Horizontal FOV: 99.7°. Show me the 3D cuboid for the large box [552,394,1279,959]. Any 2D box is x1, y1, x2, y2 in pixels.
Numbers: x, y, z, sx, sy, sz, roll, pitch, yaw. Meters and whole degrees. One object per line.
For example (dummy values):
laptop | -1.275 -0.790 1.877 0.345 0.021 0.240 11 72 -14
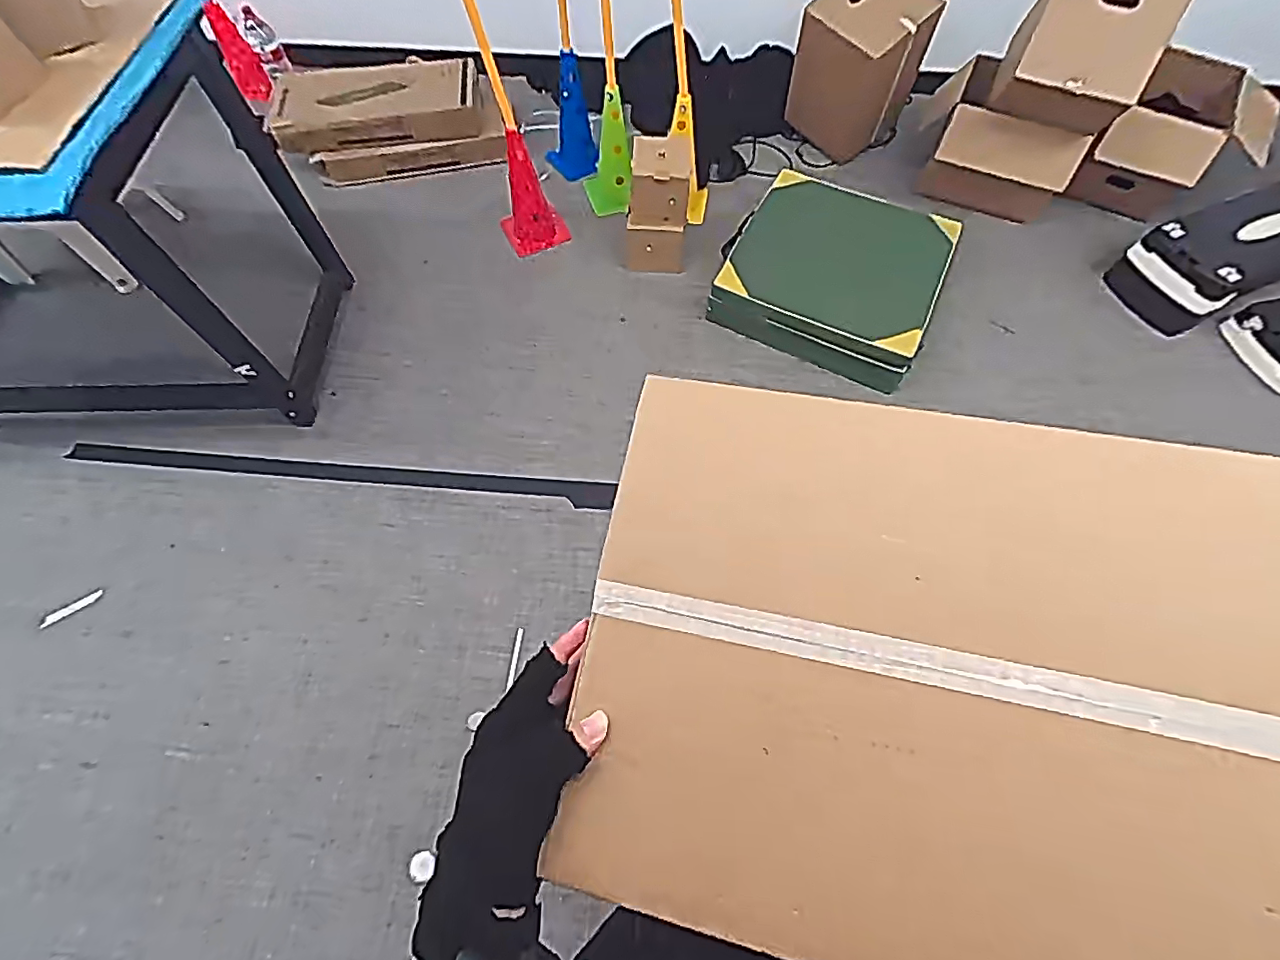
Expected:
large box | 0.187 0.152 0.456 0.408 0.320 0.320 9 75 11
